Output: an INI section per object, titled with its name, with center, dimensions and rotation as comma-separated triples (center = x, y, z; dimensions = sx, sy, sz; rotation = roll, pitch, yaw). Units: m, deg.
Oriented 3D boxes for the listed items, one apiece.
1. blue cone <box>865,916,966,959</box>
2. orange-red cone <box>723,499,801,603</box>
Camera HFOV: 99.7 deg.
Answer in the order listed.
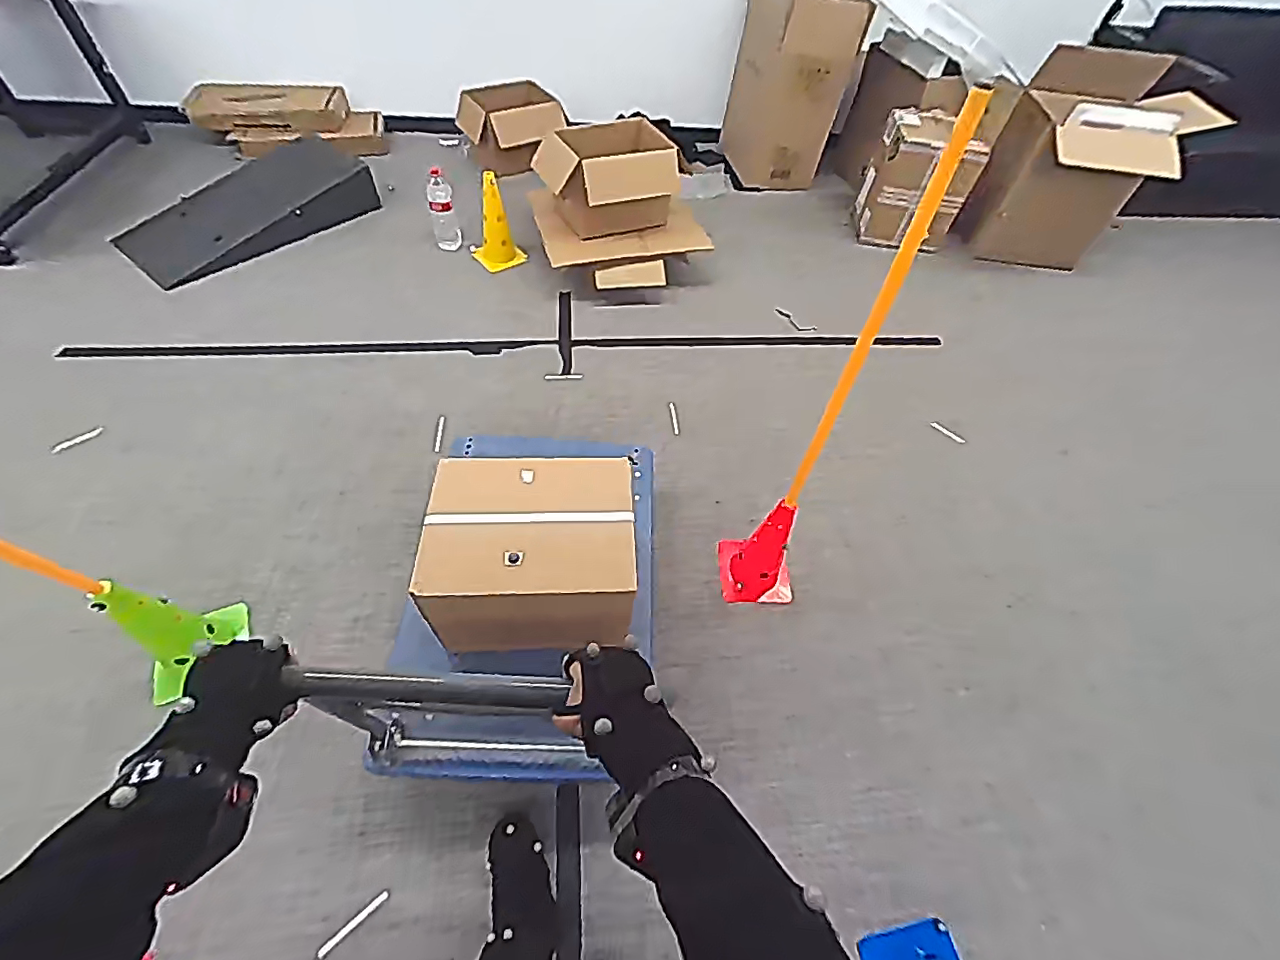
[blue cone]
center = 0.568, 0.889, 0.927
dimensions = 0.193, 0.380, 0.192
rotation = -5, 53, -9
[orange-red cone]
center = 0.355, 0.161, 1.432
dimensions = 0.199, 0.360, 0.198
rotation = 4, 54, -4
